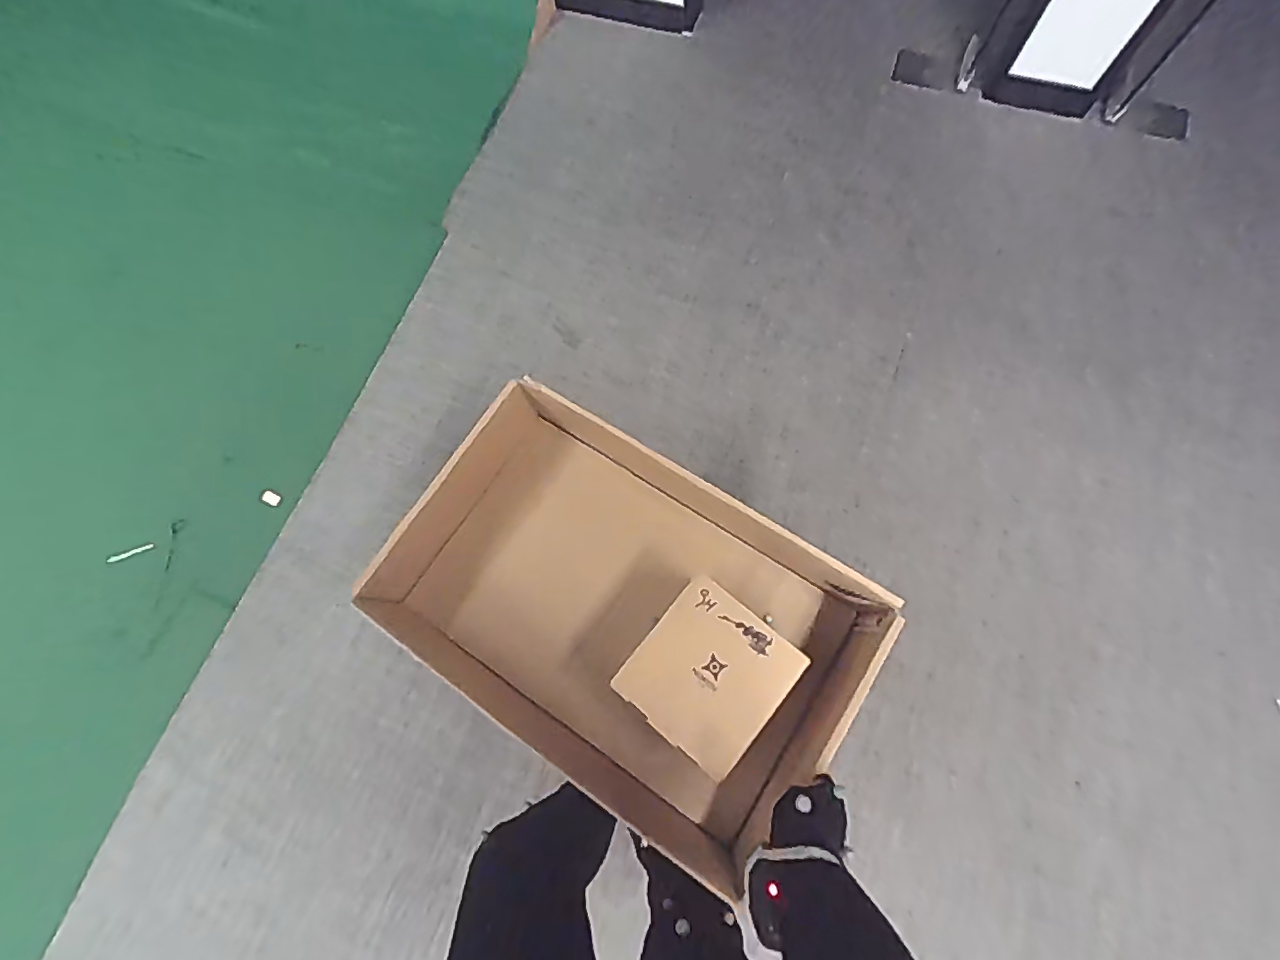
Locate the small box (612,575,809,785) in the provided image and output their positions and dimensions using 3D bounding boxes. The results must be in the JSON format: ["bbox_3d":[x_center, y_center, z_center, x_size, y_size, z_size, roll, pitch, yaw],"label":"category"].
[{"bbox_3d":[0.089,0.249,0.708,0.168,0.176,0.179,38,82,12],"label":"small box"}]
